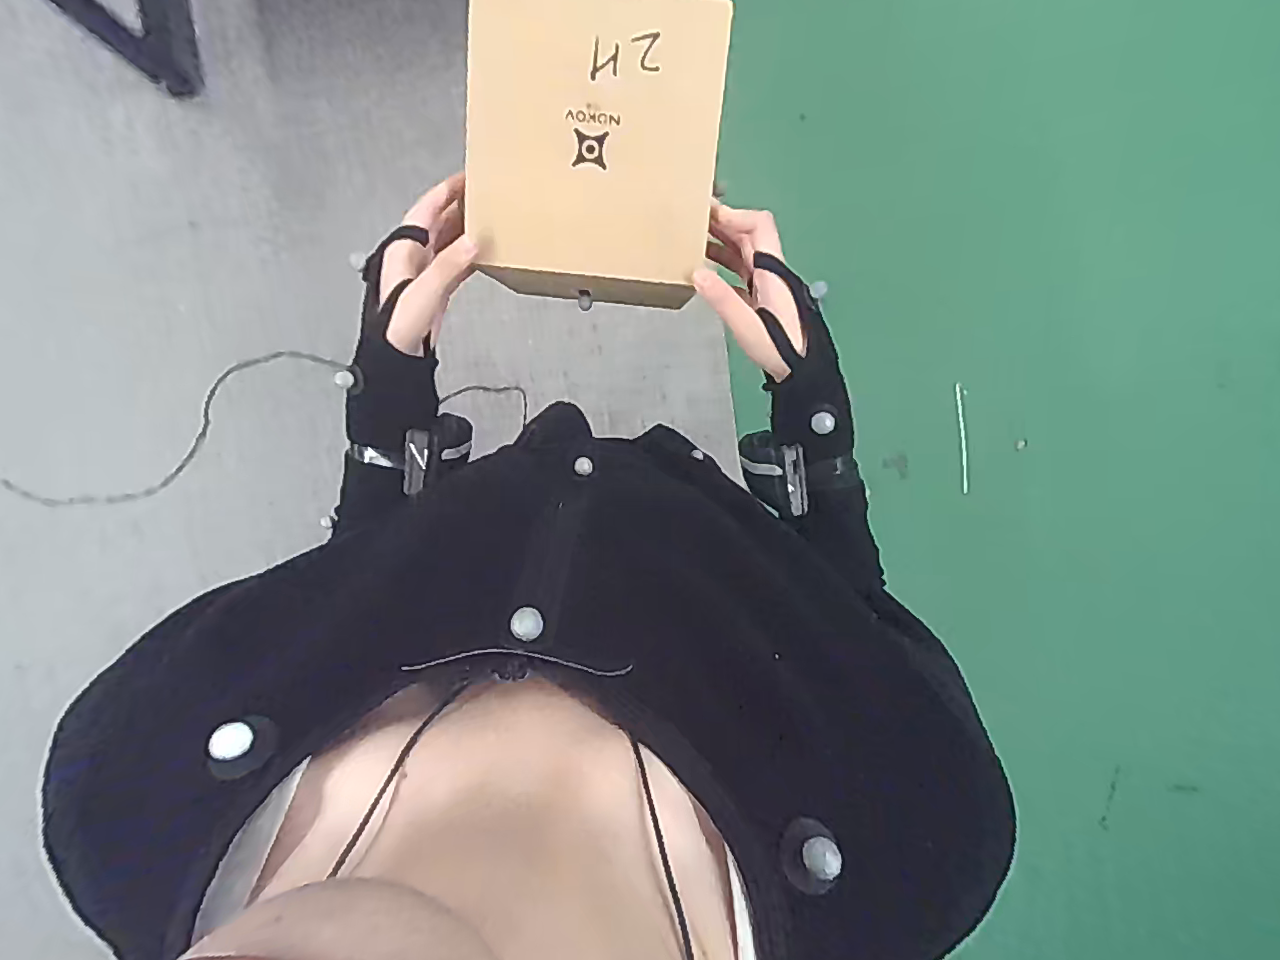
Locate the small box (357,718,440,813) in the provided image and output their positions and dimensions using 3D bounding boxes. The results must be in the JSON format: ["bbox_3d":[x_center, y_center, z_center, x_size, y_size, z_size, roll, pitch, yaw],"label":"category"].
[{"bbox_3d":[-0.643,0.756,1.414,0.179,0.176,0.168,-16,95,-2],"label":"small box"}]

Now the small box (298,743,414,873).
[{"bbox_3d":[-0.643,0.748,1.249,0.168,0.176,0.179,-12,96,-3],"label":"small box"}]
